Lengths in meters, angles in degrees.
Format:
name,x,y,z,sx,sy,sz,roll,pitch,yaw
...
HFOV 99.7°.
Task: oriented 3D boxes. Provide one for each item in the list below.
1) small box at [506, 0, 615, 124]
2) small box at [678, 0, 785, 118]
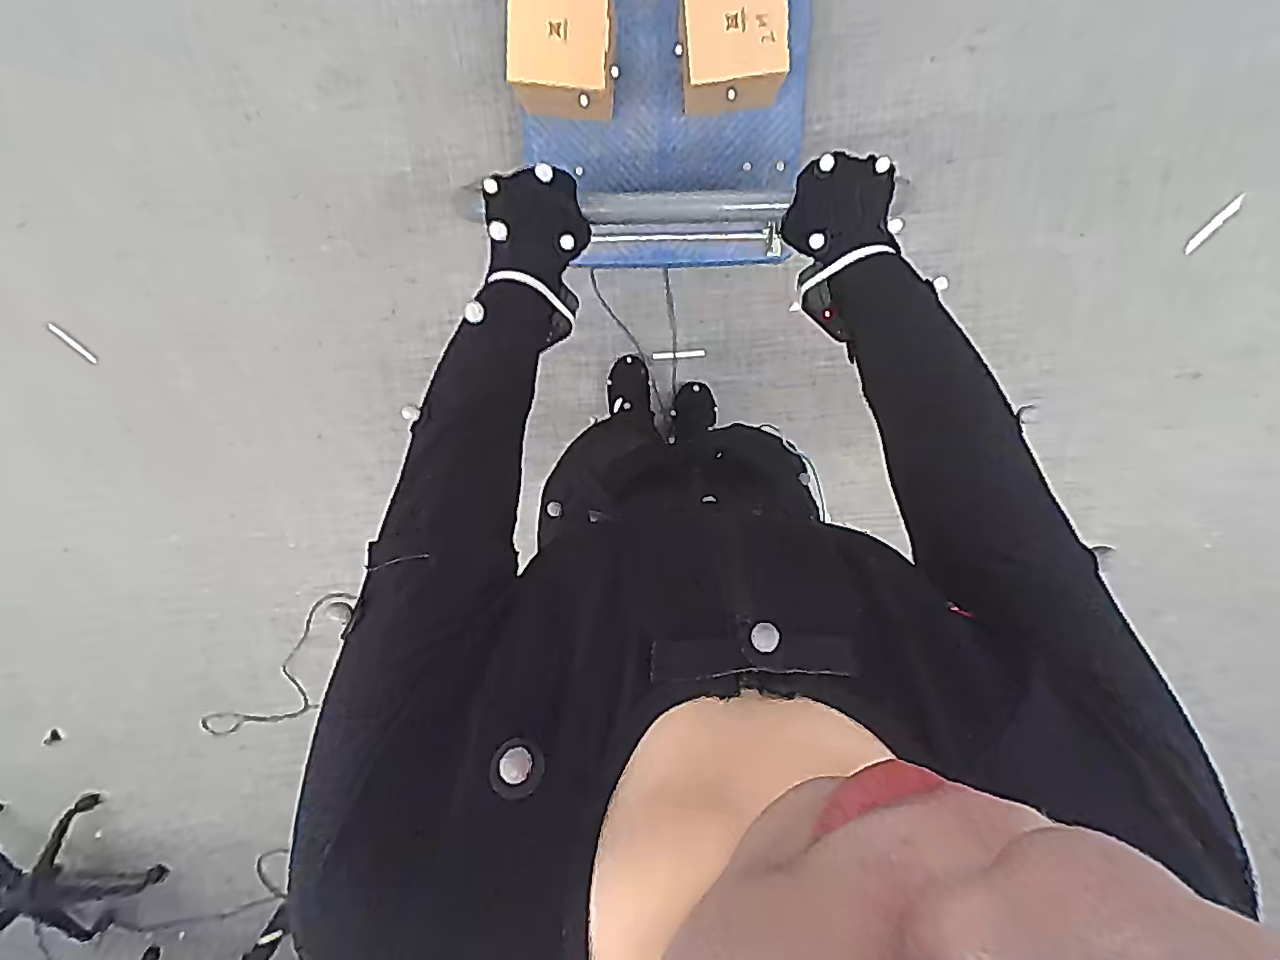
name,x,y,z,sx,sy,sz,roll,pitch,yaw
small box,-0.144,-0.794,1.015,0.179,0.176,0.168,4,106,-1
small box,0.162,-0.800,1.006,0.179,0.176,0.168,-6,107,3
